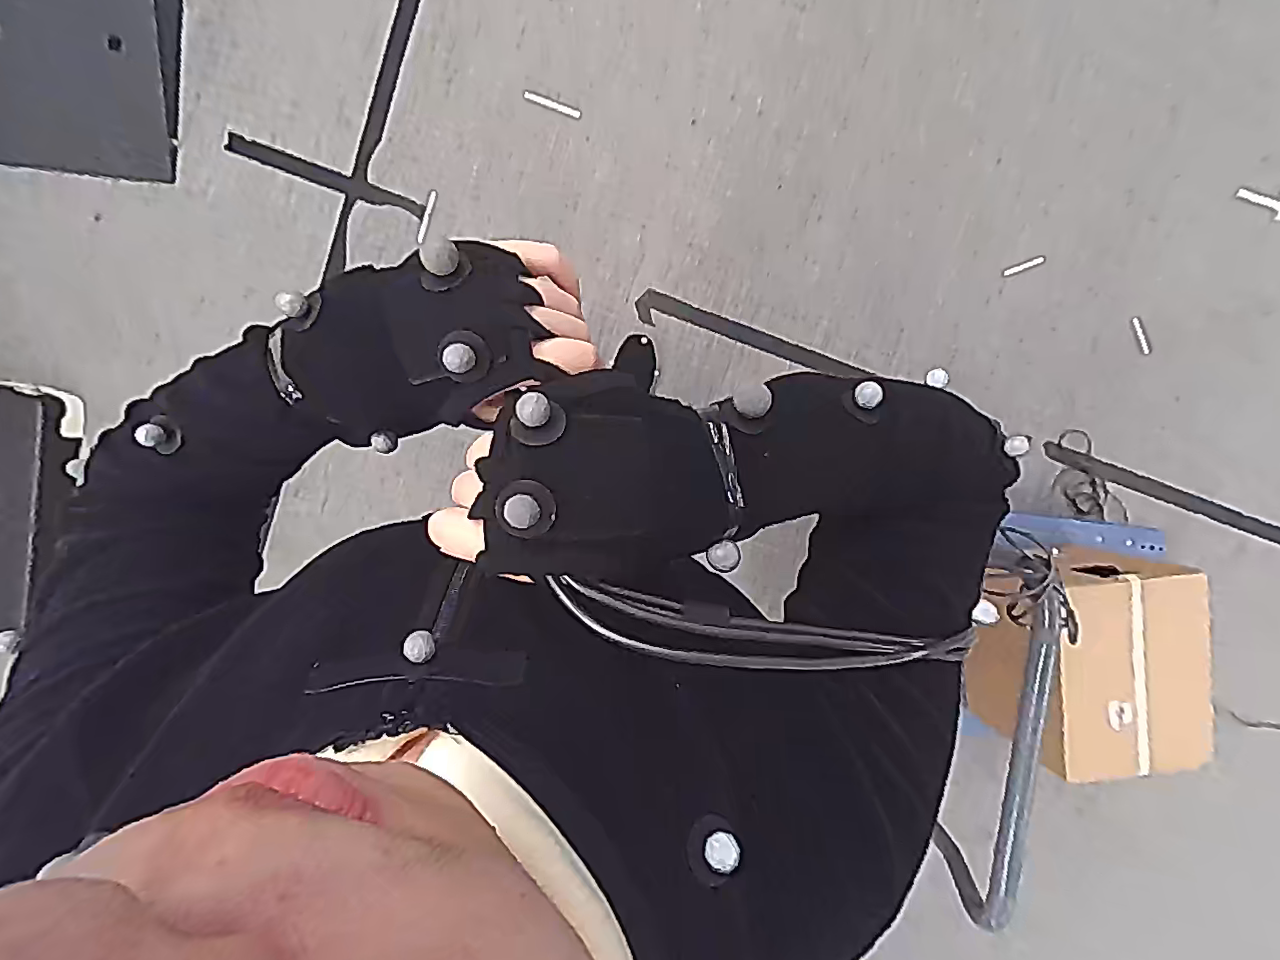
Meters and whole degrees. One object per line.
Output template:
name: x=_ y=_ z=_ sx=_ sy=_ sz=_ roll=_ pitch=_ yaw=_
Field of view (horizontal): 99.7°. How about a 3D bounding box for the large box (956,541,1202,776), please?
large box: x=0.966 y=0.374 z=1.226 sx=0.320 sy=0.320 sz=0.408 roll=-5 pitch=94 yaw=-2
